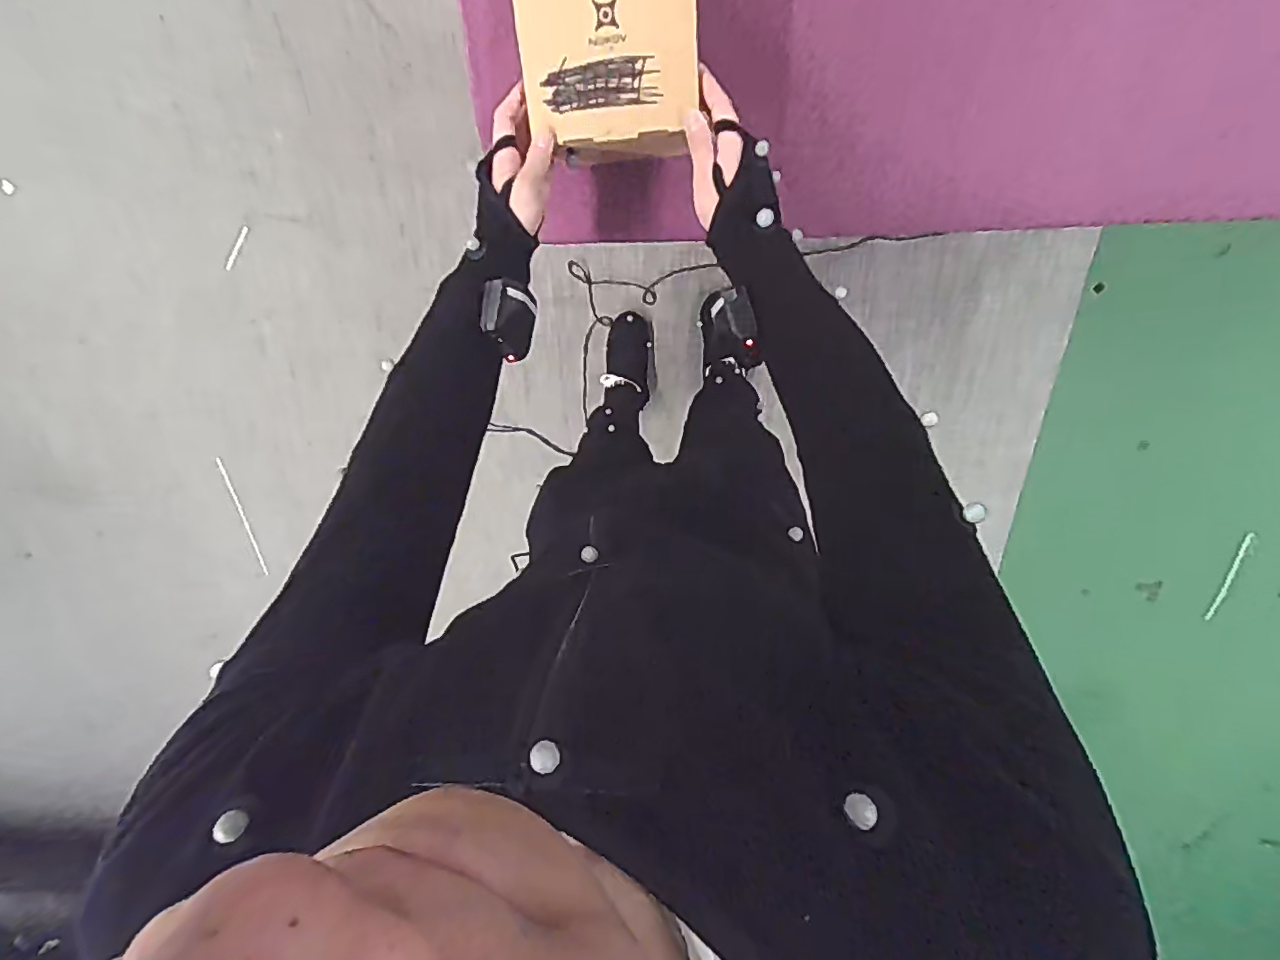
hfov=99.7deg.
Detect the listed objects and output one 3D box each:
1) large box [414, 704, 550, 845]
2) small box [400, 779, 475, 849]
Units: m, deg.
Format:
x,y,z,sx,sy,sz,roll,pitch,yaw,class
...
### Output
x,y,z,sx,sy,sz,roll,pitch,yaw,class
-0.614,1.152,2.134,0.408,0.320,0.320,21,116,-6,large box
-0.701,1.193,1.889,0.168,0.176,0.179,27,113,-8,small box
